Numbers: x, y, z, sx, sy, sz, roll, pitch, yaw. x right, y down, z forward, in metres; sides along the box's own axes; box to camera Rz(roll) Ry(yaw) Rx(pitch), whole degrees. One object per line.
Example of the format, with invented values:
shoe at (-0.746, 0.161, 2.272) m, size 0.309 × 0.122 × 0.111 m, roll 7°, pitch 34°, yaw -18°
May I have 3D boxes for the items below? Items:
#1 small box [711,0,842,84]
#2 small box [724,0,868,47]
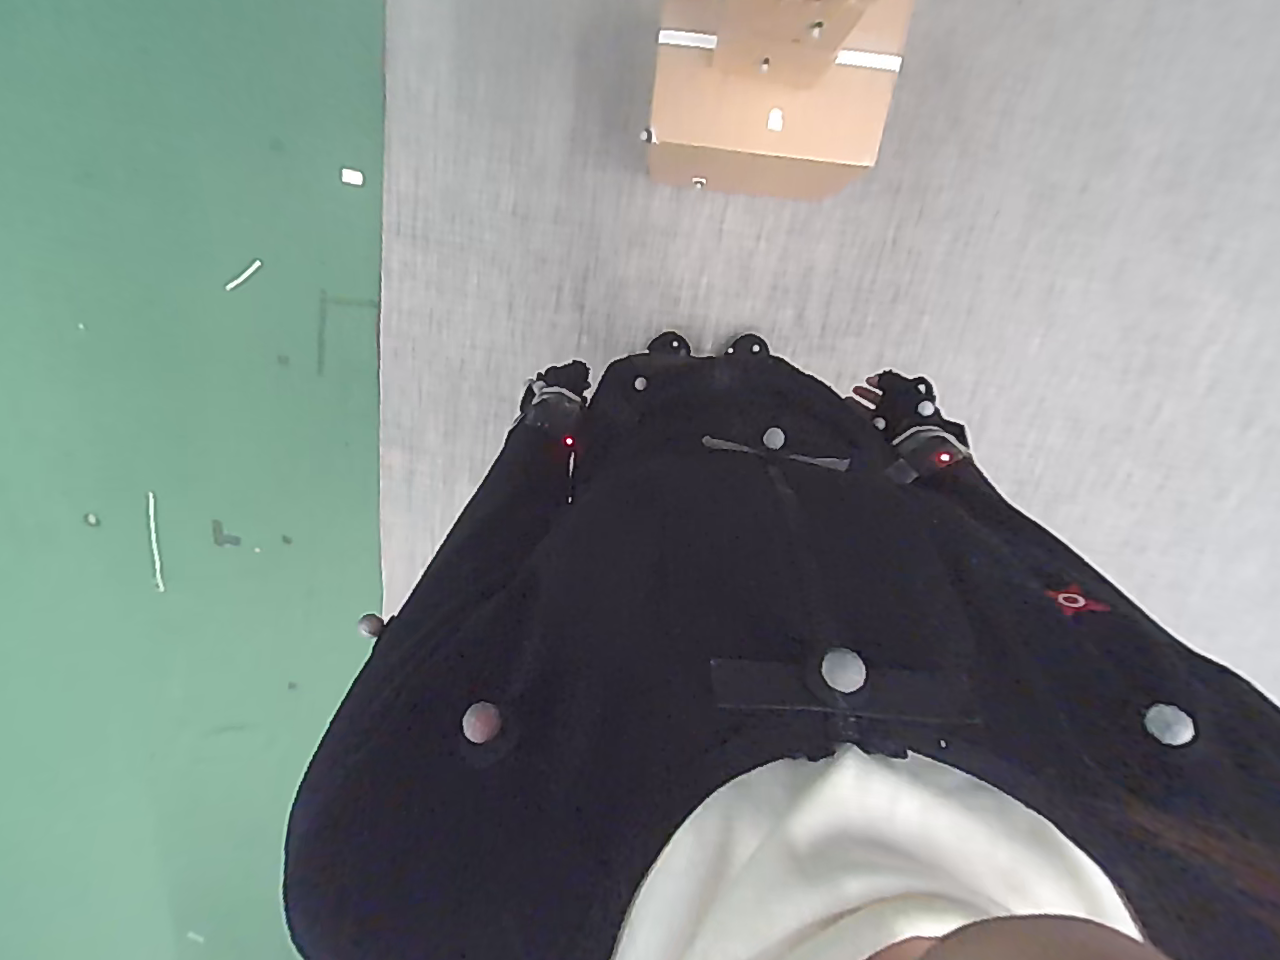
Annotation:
small box at (0.216, -0.728, 0.809) m, size 0.179 × 0.176 × 0.168 m, roll 14°, pitch 111°, yaw -2°
small box at (0.204, -0.672, 0.661) m, size 0.168 × 0.176 × 0.179 m, roll 10°, pitch 111°, yaw -2°
